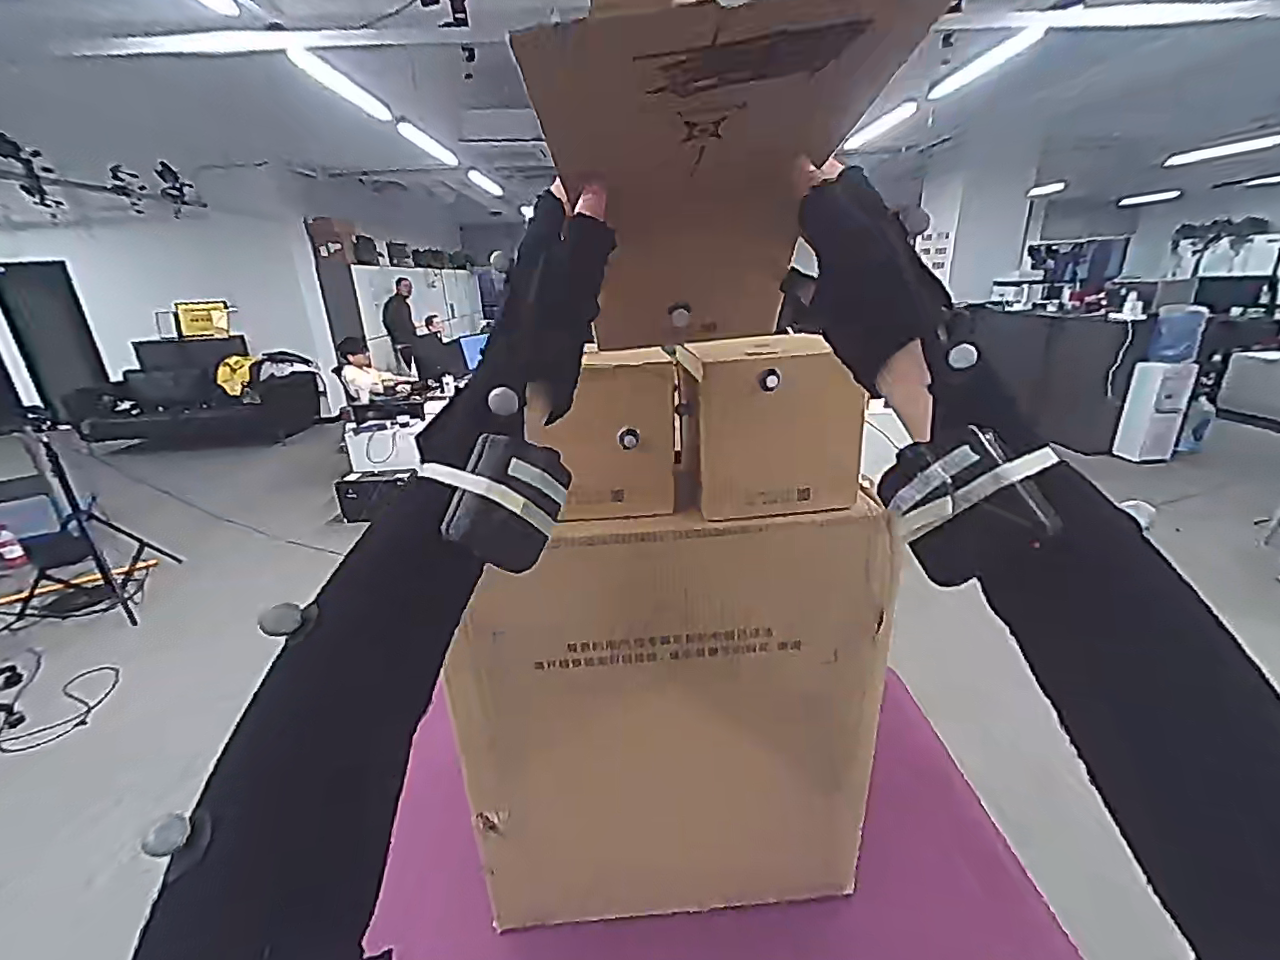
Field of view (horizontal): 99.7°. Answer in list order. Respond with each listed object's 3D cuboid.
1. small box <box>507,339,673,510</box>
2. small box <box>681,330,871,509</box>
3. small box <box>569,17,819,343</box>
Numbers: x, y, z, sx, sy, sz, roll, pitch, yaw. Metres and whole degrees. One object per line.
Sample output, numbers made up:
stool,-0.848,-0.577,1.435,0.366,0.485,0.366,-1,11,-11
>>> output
small box,-0.053,-0.069,0.627,0.168,0.176,0.179,-2,19,-5
small box,0.139,-0.076,0.617,0.168,0.176,0.179,-5,19,-3
small box,0.034,-0.242,0.461,0.168,0.179,0.176,-6,-24,1
